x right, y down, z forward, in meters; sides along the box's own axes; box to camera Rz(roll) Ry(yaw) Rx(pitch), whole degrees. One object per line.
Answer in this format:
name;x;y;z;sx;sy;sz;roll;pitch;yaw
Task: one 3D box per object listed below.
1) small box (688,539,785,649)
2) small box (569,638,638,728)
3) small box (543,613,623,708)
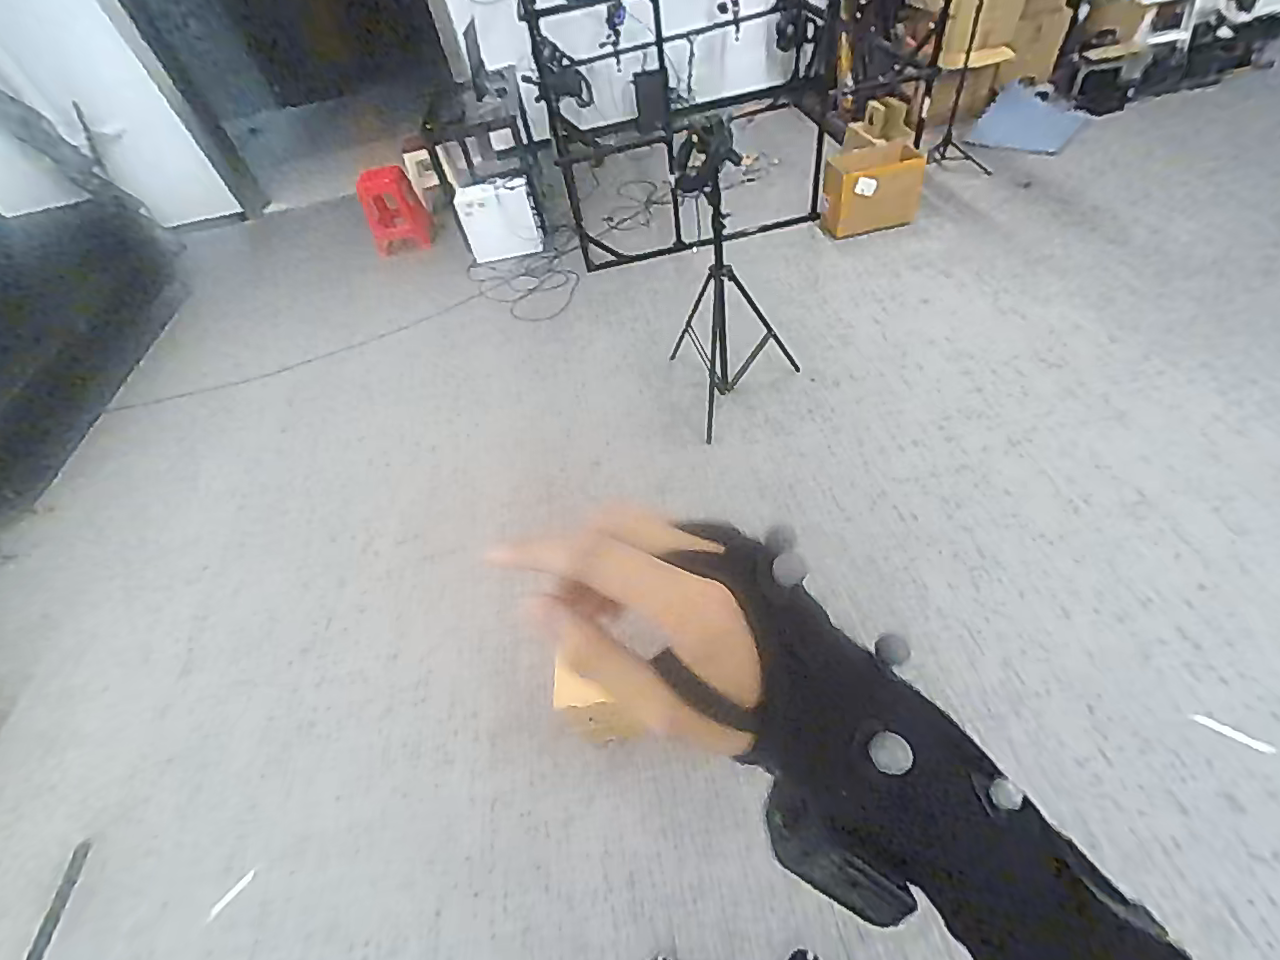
small box;0.223;0.272;1.257;0.168;0.176;0.179;-19;50;-5
small box;-0.105;0.568;1.509;0.168;0.176;0.179;-11;49;2
small box;-0.141;0.465;1.388;0.168;0.176;0.179;-9;50;5
